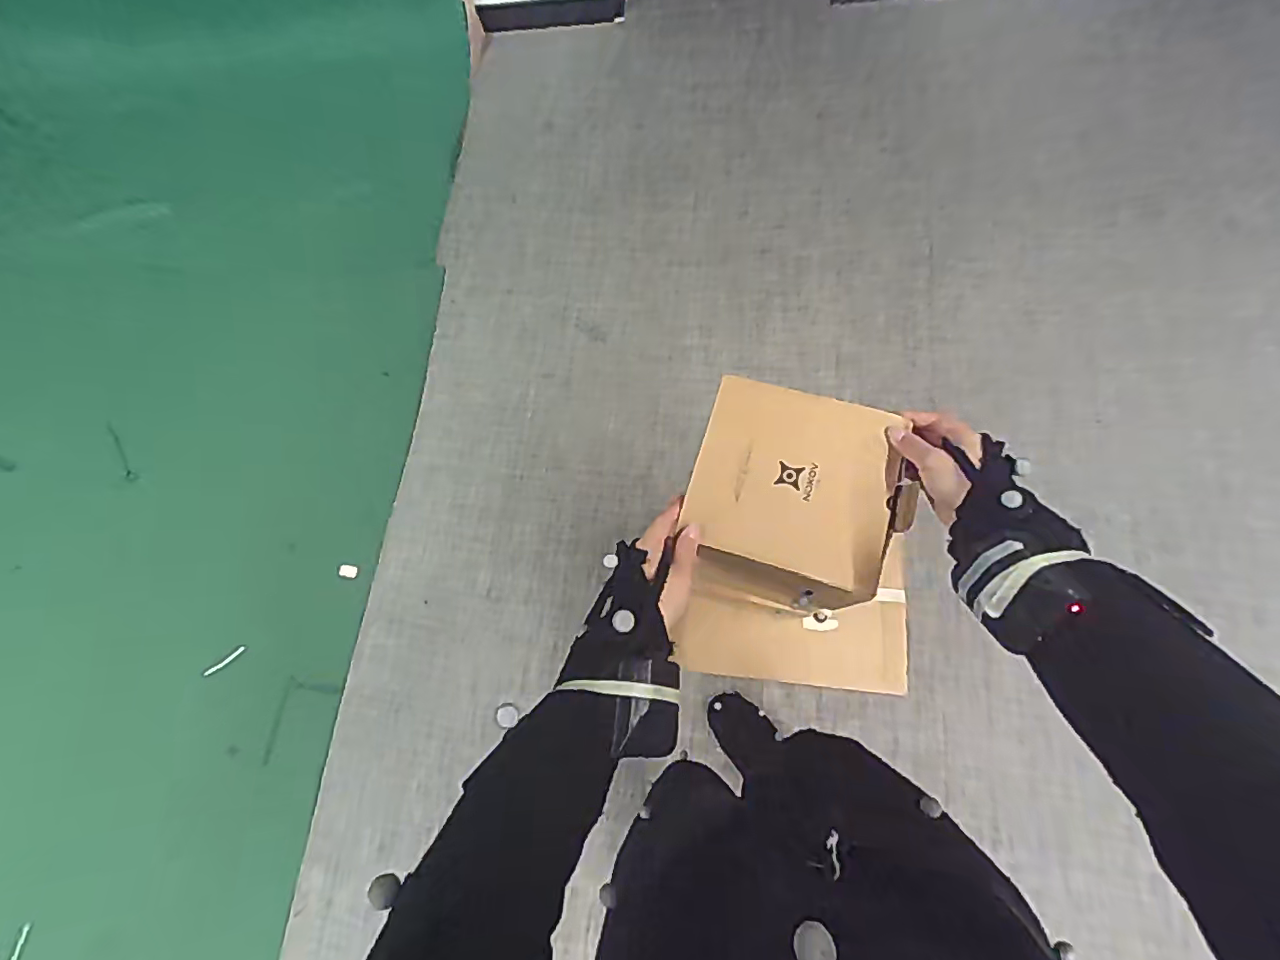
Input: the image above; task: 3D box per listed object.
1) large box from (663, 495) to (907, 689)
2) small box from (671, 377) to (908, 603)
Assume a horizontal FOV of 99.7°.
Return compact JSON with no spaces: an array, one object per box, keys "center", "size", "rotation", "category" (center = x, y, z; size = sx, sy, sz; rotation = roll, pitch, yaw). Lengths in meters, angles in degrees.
[{"center":[0.261,0.224,1.075],"size":[0.408,0.320,0.320],"rotation":[3,75,8],"category":"large box"},{"center":[0.143,0.022,0.553],"size":[0.179,0.176,0.168],"rotation":[15,75,12],"category":"small box"}]
